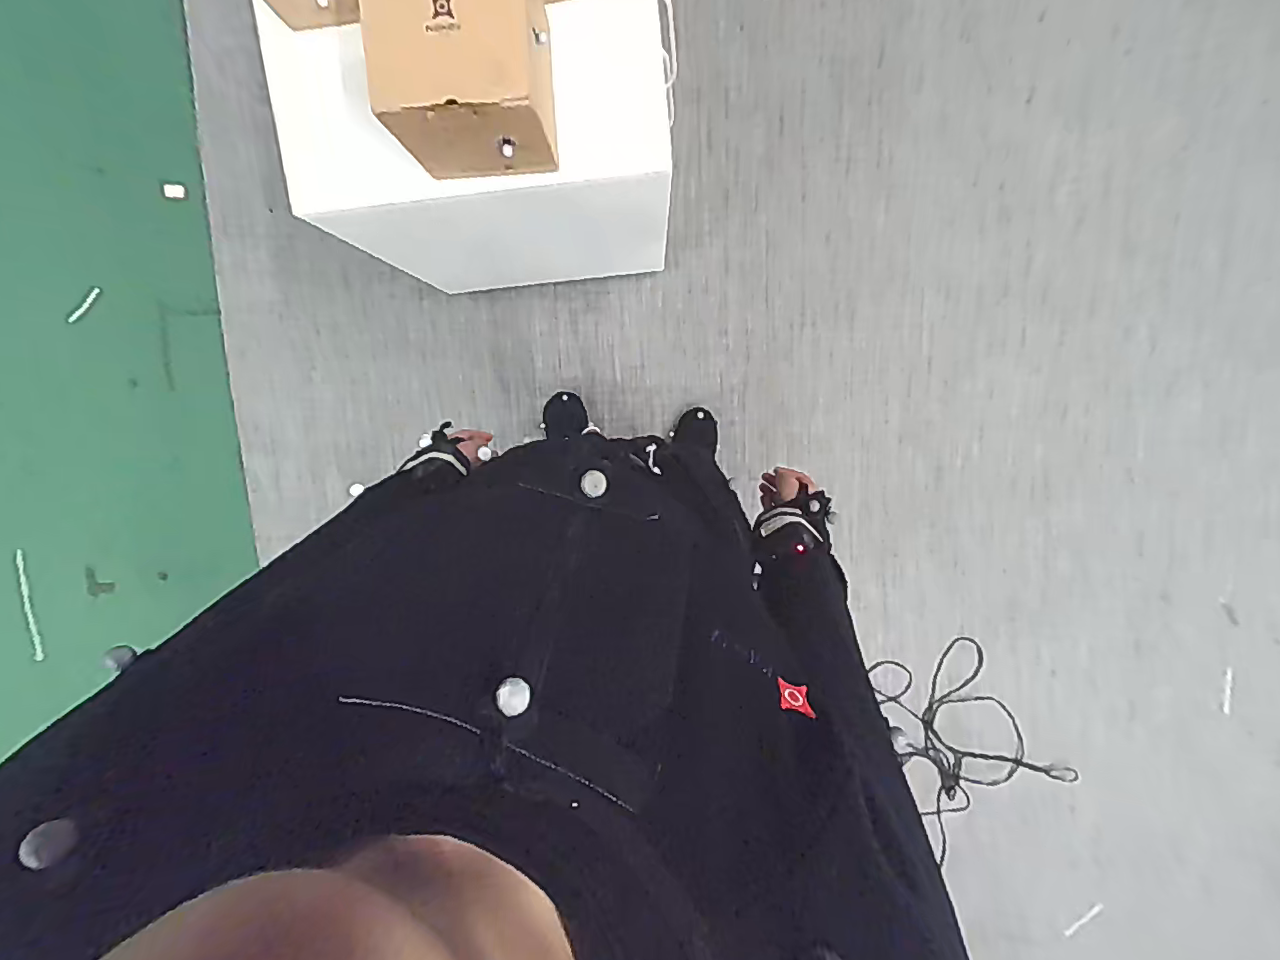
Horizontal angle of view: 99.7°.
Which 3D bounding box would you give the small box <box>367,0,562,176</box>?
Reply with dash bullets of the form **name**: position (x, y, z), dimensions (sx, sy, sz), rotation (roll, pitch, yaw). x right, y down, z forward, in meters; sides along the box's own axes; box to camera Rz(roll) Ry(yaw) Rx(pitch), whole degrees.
- **small box**: position (-0.184, -0.464, 0.611), dimensions (0.168, 0.176, 0.179), rotation (-2, 97, 1)
